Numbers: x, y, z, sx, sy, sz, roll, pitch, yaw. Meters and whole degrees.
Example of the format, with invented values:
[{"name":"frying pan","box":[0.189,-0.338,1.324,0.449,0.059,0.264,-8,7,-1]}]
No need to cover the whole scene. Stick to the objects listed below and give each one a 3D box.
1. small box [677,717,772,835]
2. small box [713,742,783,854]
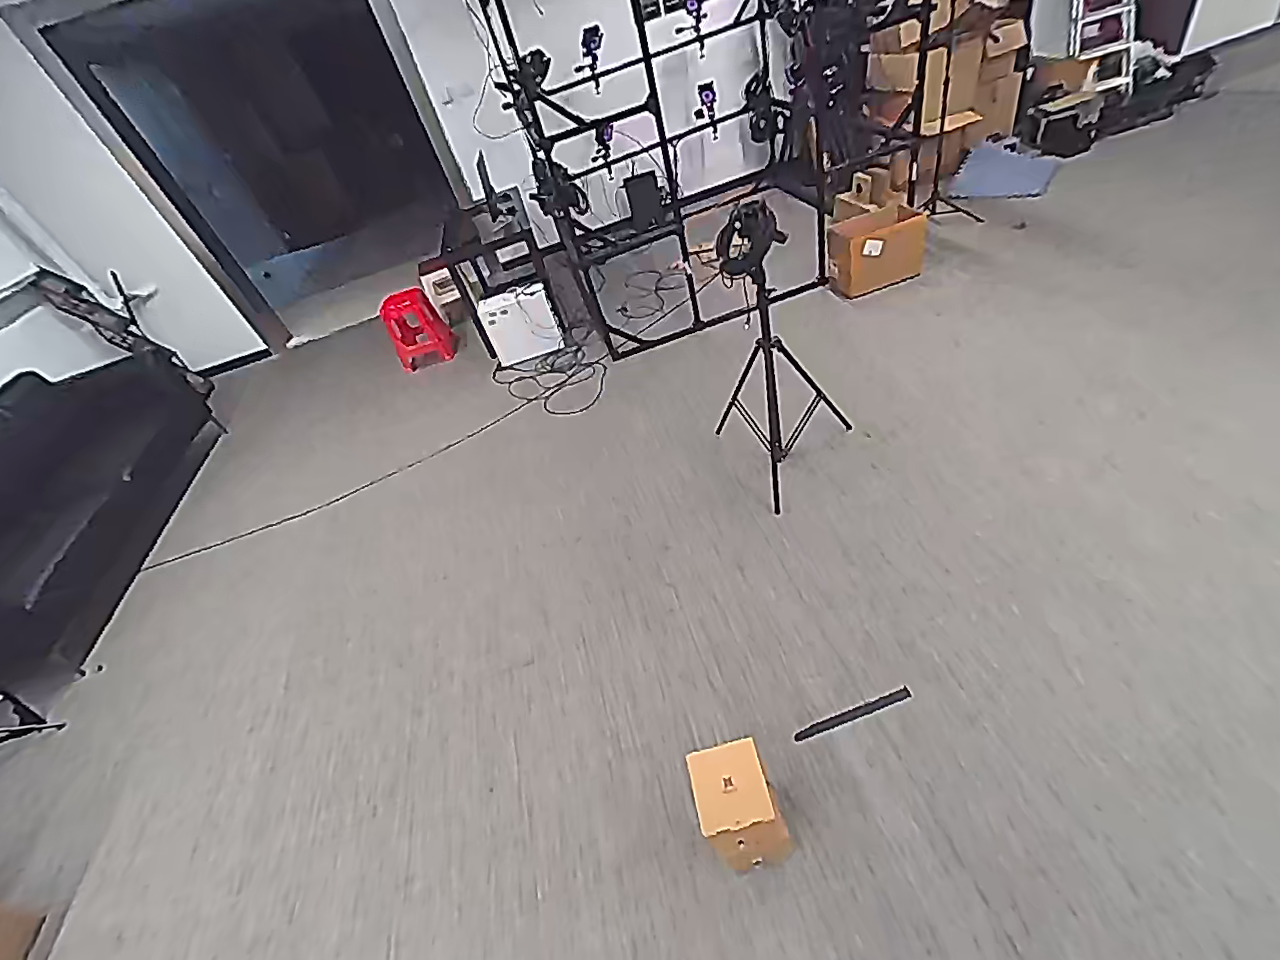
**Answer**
[{"name":"small box","box":[0.194,0.682,1.245,0.168,0.176,0.179,-18,43,4]},{"name":"small box","box":[0.245,0.795,1.349,0.168,0.176,0.179,-19,41,2]}]
